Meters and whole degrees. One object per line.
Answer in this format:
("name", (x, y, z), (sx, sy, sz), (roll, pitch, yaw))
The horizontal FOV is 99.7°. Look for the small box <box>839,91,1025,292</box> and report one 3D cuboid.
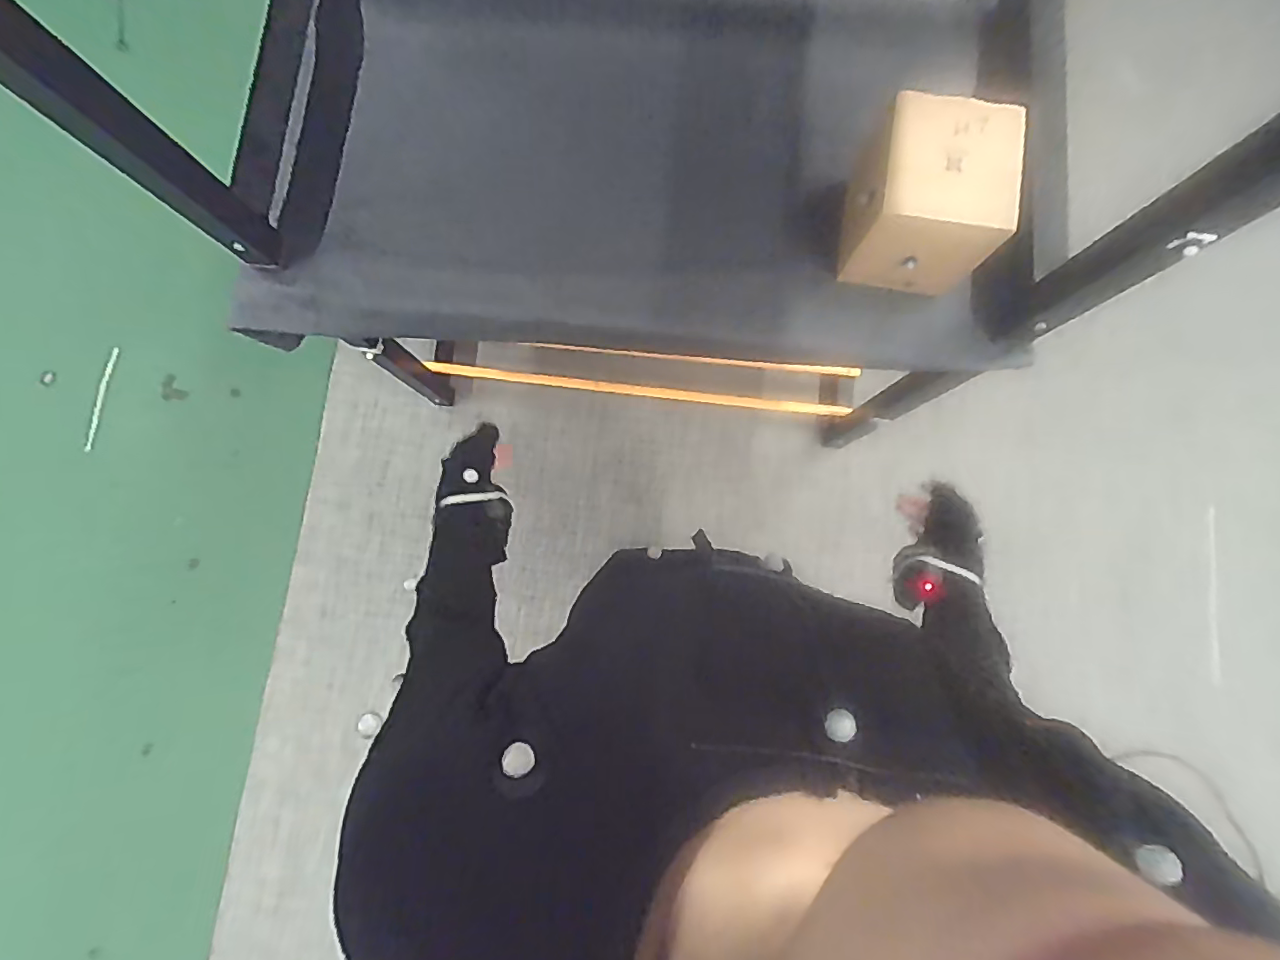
("small box", (0.392, -0.386, 0.753), (0.168, 0.176, 0.179), (10, 81, 2))
